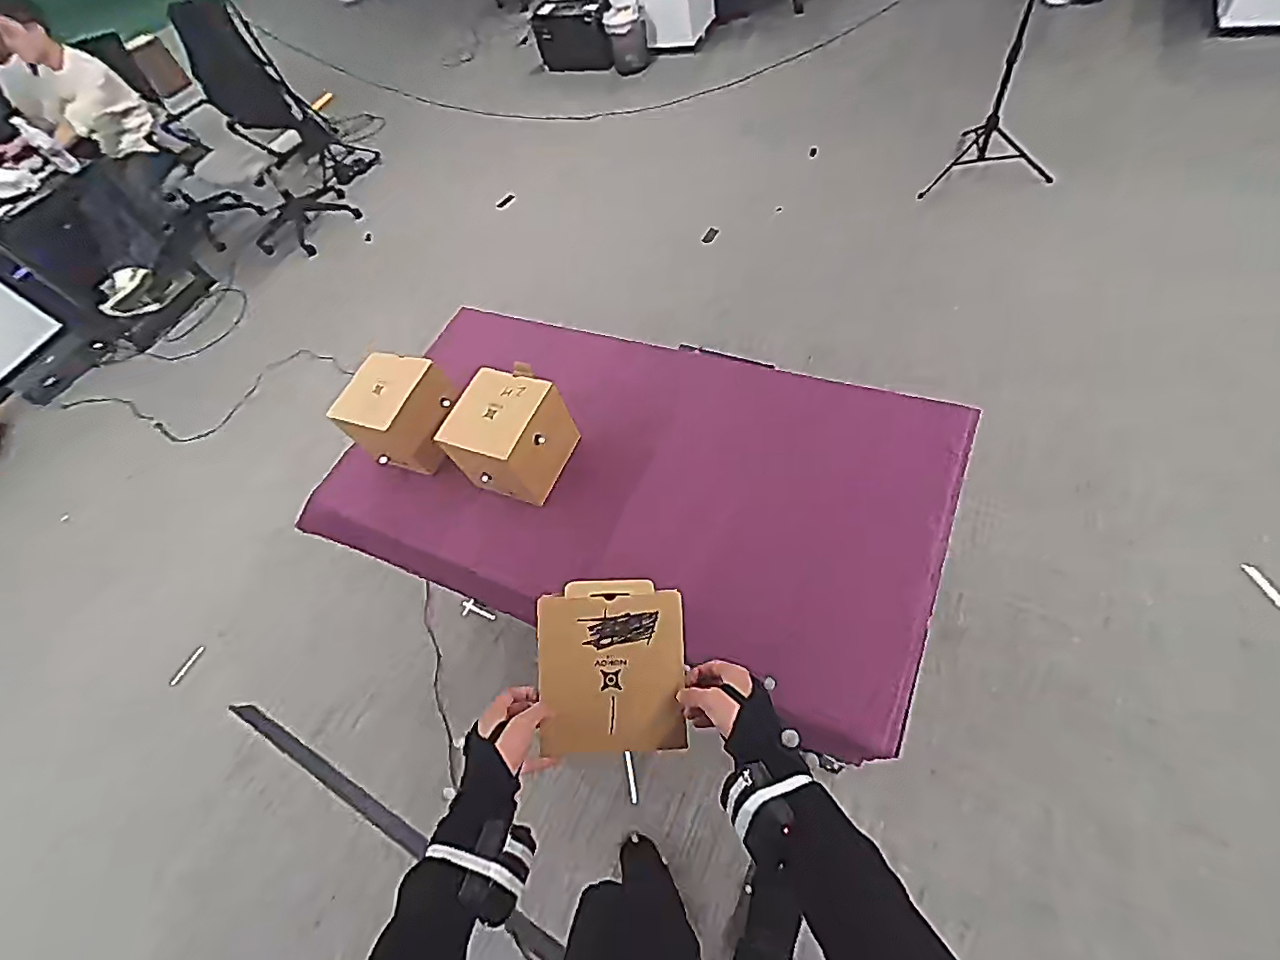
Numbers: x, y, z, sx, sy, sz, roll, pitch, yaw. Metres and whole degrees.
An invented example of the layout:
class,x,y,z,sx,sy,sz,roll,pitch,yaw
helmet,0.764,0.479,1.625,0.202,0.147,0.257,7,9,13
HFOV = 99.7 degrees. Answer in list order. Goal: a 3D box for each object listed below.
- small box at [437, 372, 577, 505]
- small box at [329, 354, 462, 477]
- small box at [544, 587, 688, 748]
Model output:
class,x,y,z,sx,sy,sz,roll,pitch,yaw
small box,-0.243,-0.075,1.041,0.168,0.176,0.179,16,64,22
small box,-0.494,-0.134,1.139,0.168,0.176,0.179,14,63,22
small box,-0.031,0.236,0.703,0.168,0.176,0.179,-1,75,-2
